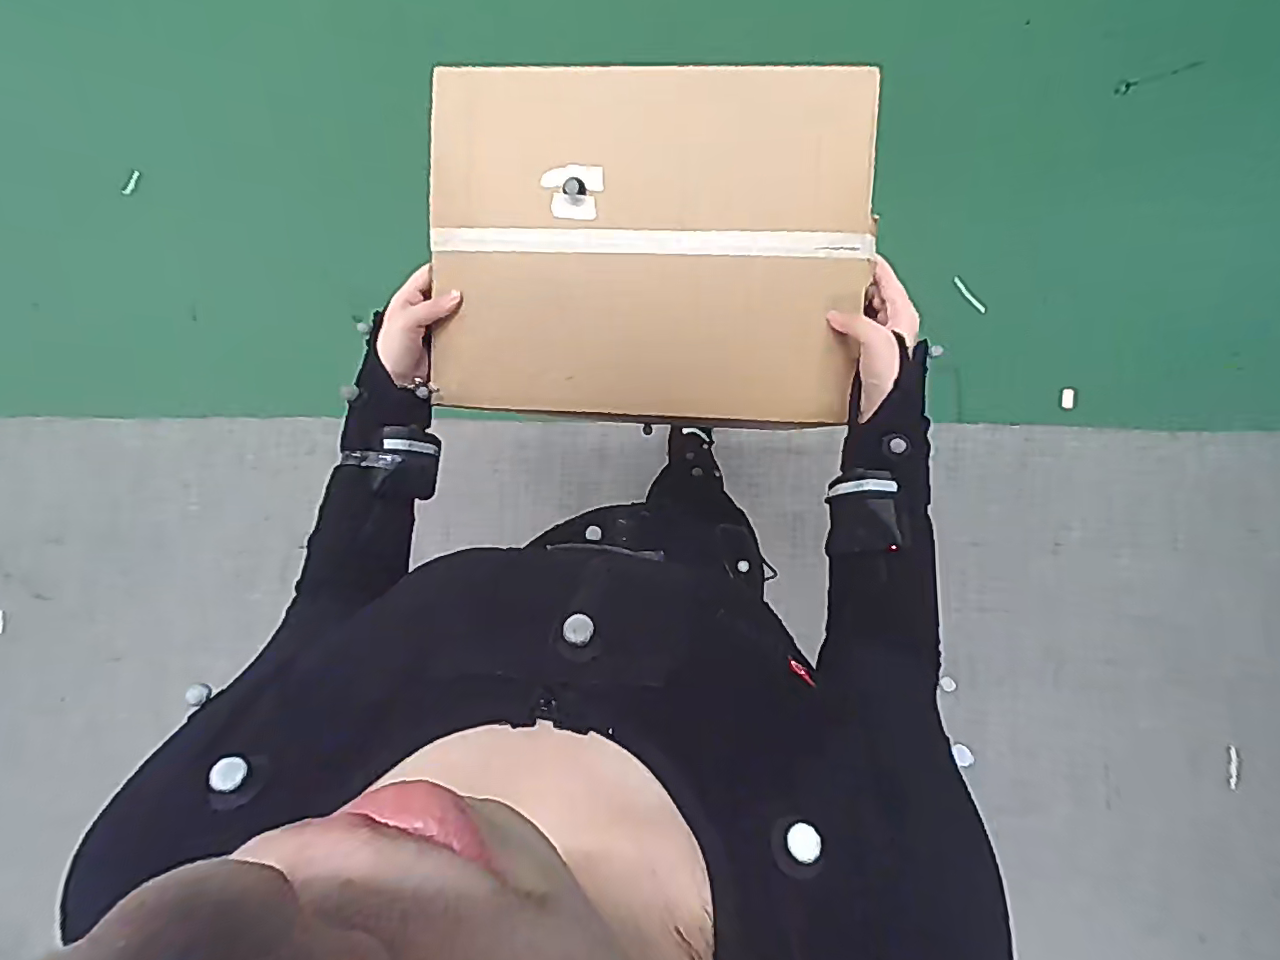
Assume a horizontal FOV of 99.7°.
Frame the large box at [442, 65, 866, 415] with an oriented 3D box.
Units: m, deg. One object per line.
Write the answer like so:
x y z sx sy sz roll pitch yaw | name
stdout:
0.019 -0.238 0.662 0.408 0.320 0.320 3 95 6 | large box
